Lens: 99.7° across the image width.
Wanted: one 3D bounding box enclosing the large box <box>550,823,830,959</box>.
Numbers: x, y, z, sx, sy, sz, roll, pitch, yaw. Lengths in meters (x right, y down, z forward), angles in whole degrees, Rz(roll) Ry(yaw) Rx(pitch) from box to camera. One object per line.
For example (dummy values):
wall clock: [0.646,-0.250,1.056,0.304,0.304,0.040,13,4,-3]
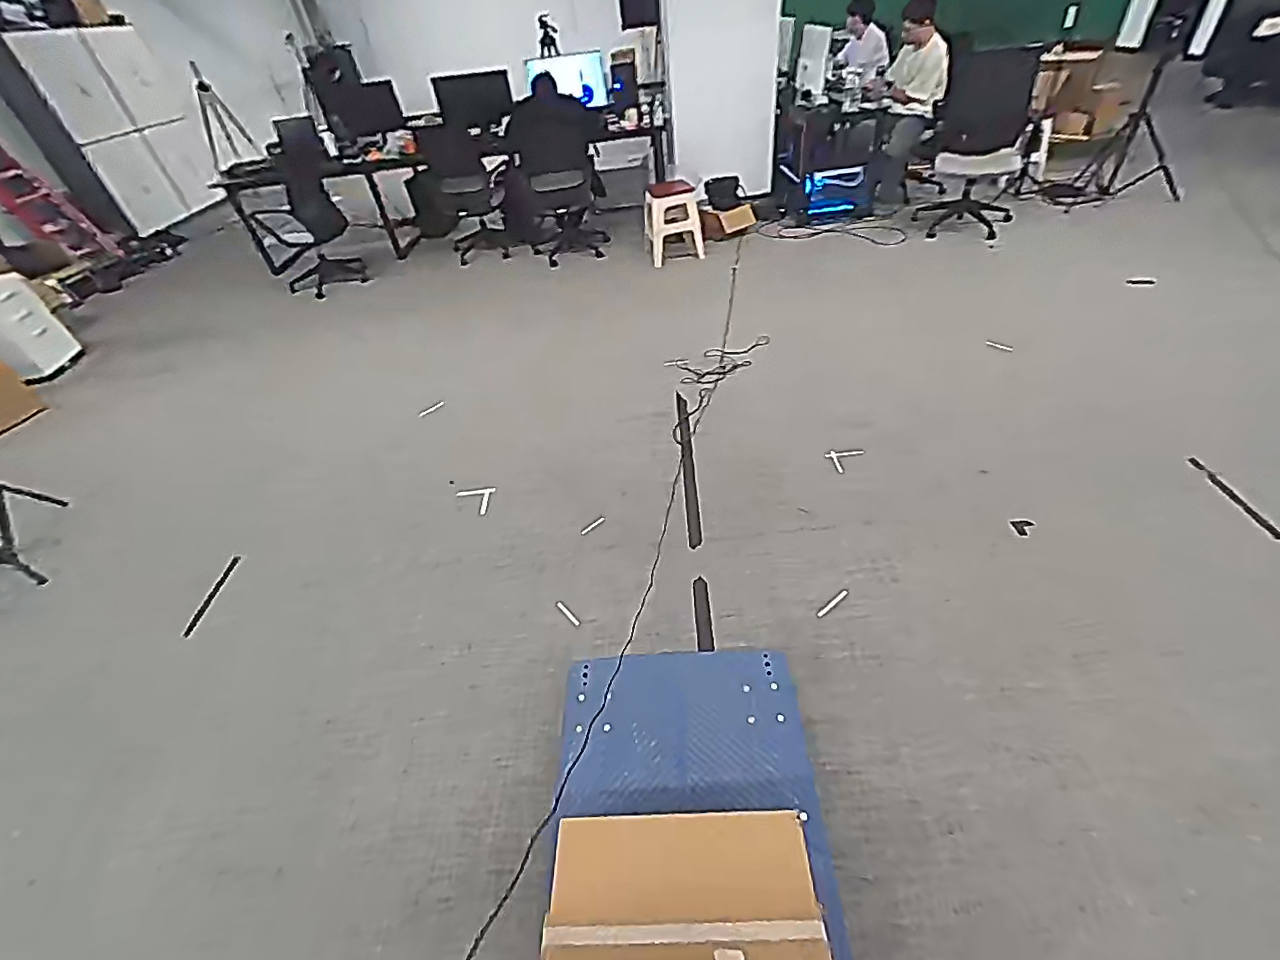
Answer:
large box: [0.080,0.783,0.864,0.408,0.320,0.320,-4,41,4]
